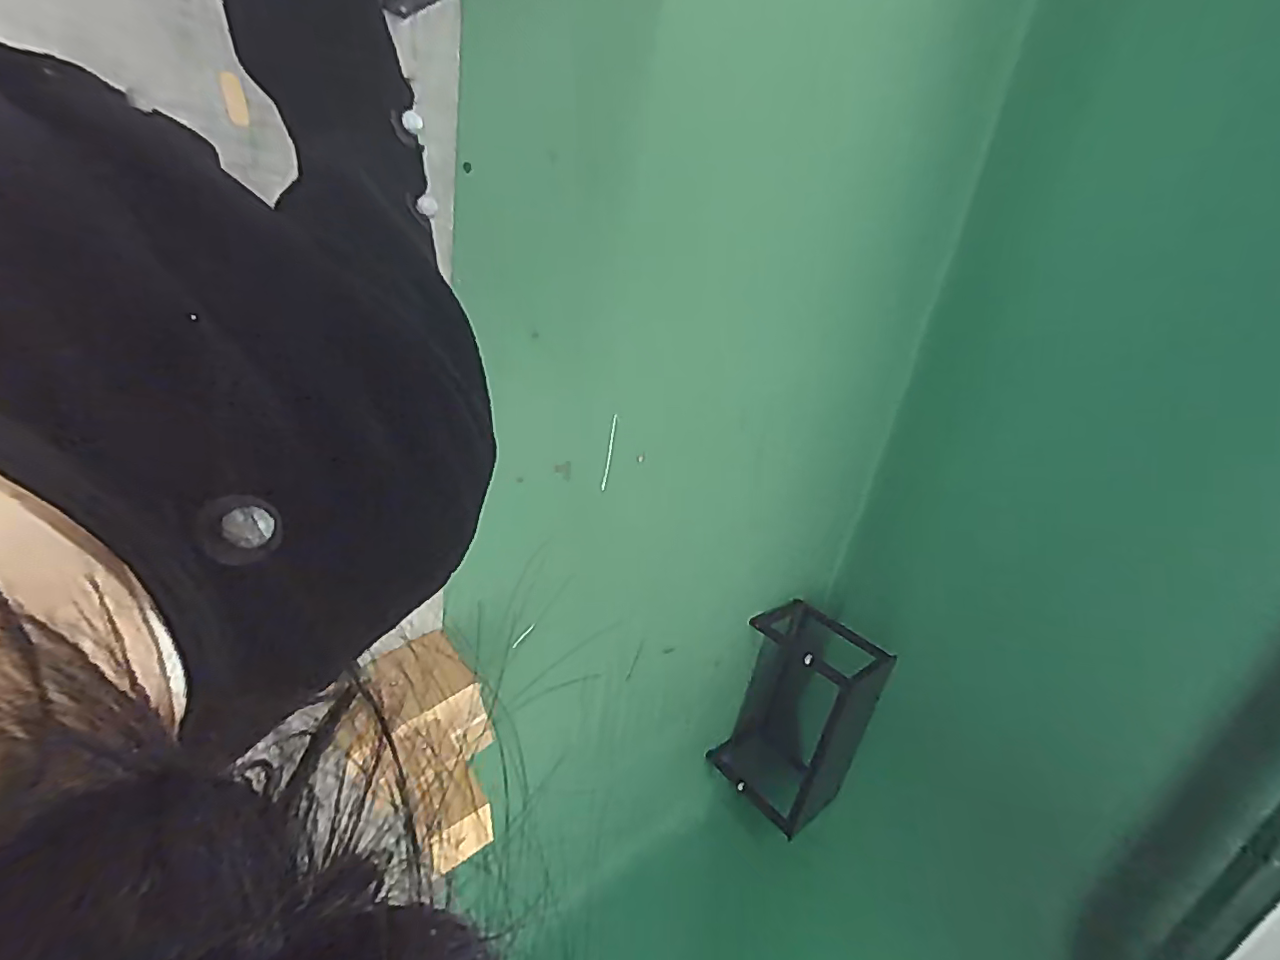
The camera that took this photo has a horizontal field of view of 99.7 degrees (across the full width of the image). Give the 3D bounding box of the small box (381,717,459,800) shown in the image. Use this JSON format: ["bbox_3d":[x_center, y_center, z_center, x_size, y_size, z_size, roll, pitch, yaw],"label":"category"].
[{"bbox_3d":[-0.632,0.822,1.567,0.168,0.176,0.179,-19,124,-36],"label":"small box"}]

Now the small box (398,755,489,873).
[{"bbox_3d":[-0.530,0.890,1.461,0.179,0.176,0.168,-17,124,-37],"label":"small box"}]

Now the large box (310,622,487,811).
[{"bbox_3d":[-0.773,0.746,1.758,0.408,0.320,0.320,-26,130,-35],"label":"large box"}]
